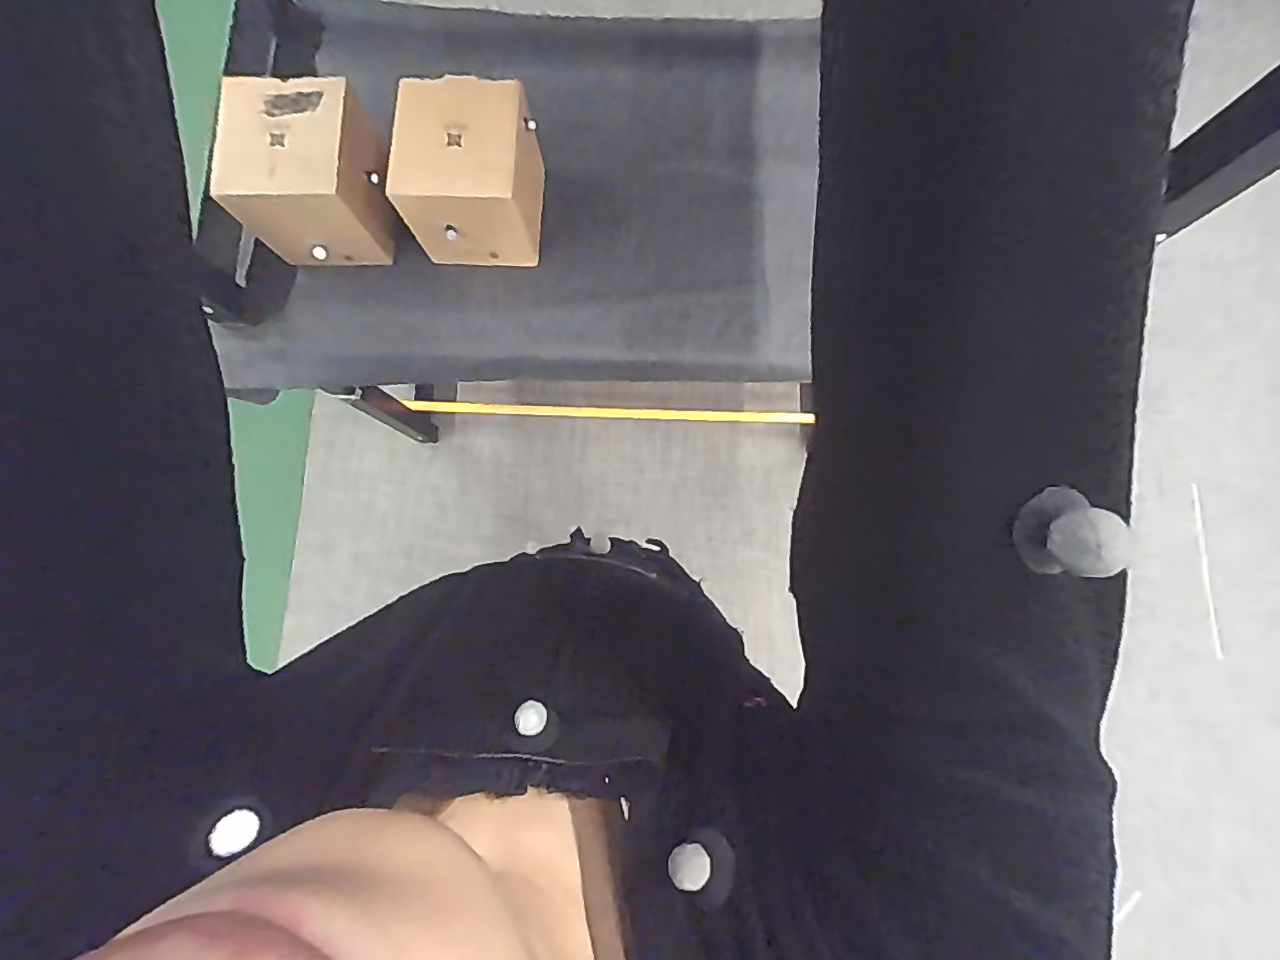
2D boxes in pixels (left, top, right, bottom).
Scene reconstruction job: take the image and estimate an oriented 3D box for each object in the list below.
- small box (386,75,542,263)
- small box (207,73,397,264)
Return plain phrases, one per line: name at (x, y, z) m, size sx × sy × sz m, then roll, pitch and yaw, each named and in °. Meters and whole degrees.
small box at (-0.240, -0.435, 0.779) m, size 0.168 × 0.176 × 0.179 m, roll 2°, pitch 80°, yaw 0°
small box at (-0.467, -0.437, 0.777) m, size 0.168 × 0.176 × 0.179 m, roll -1°, pitch 81°, yaw 0°
